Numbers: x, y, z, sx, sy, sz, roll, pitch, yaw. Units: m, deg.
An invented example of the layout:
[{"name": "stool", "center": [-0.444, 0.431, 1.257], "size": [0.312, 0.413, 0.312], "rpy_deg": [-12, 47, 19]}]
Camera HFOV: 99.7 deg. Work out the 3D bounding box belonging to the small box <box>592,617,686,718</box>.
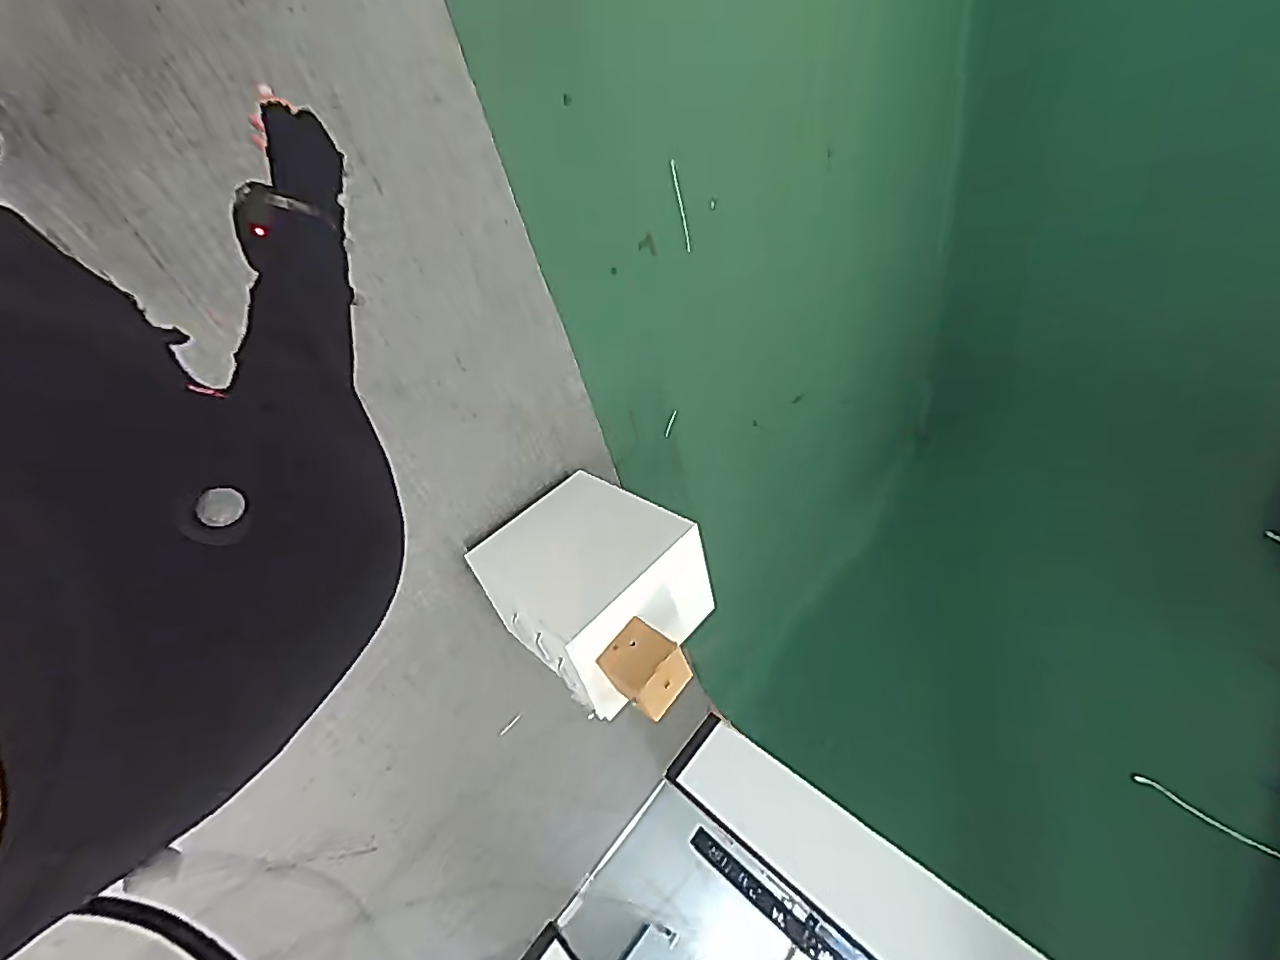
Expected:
[{"name": "small box", "center": [-0.003, 0.511, 1.494], "size": [0.168, 0.176, 0.179], "rpy_deg": [-45, 135, -24]}]
